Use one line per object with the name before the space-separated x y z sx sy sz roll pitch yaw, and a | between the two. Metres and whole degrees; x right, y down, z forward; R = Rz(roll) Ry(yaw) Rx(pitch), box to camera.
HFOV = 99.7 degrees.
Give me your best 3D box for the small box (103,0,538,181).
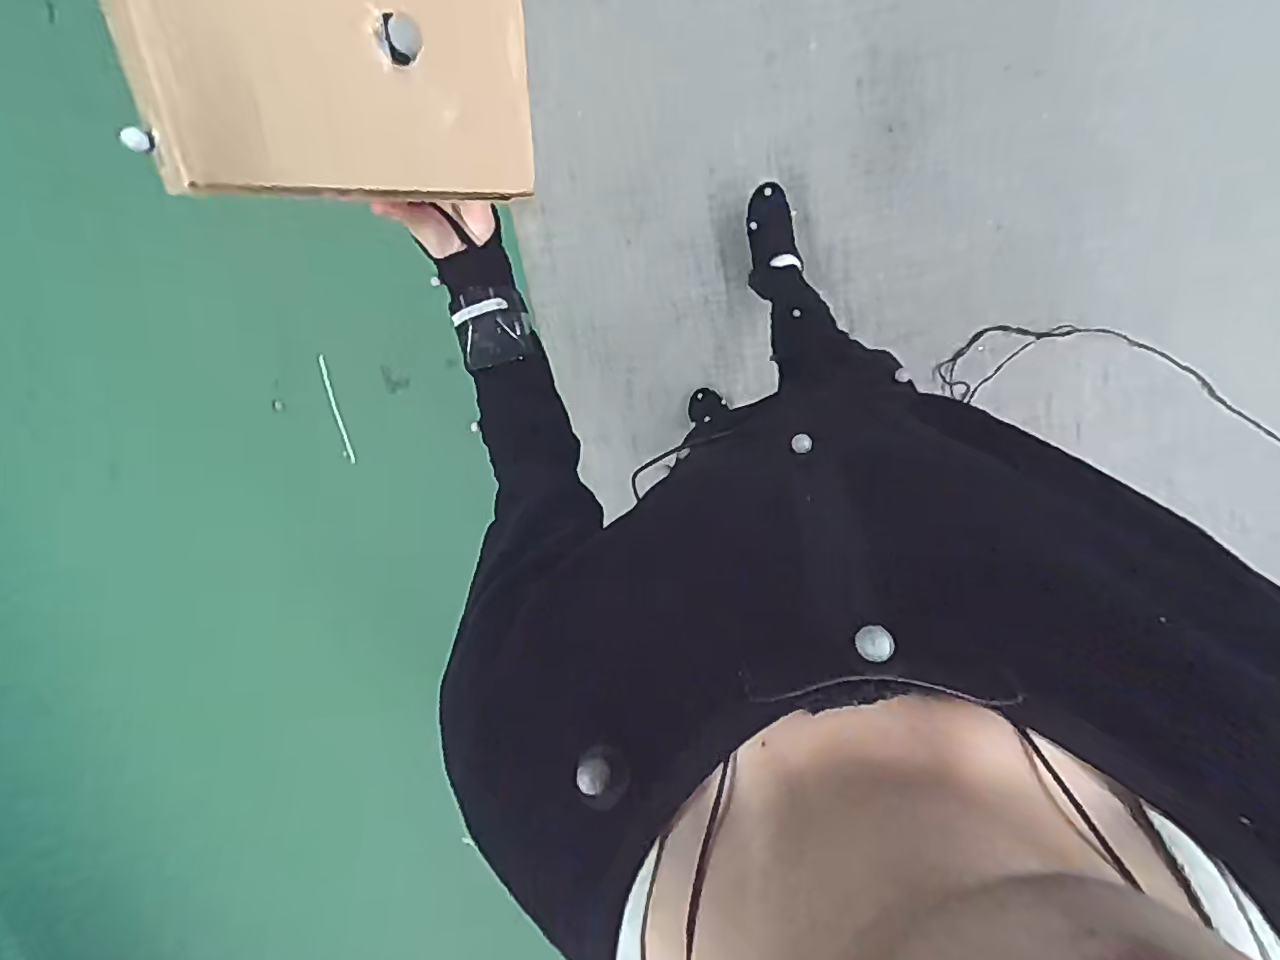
small box | -0.176 -0.263 0.292 0.168 0.179 0.176 27 126 43
